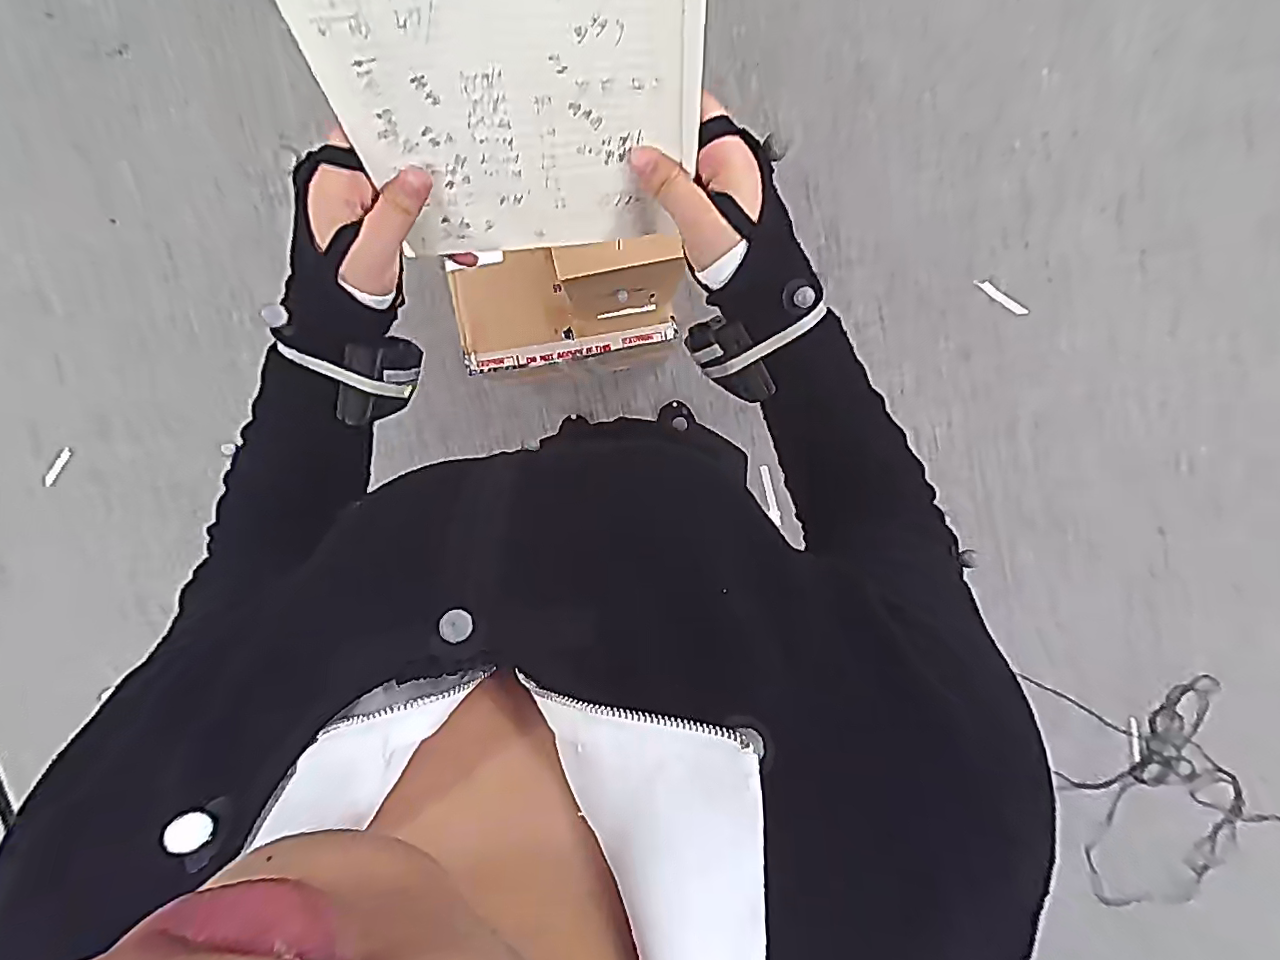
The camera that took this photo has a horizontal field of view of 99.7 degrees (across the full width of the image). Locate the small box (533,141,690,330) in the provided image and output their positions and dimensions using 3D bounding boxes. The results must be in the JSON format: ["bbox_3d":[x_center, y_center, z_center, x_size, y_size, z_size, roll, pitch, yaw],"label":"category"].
[{"bbox_3d":[-0.037,-0.312,0.724,0.168,0.176,0.179,-11,99,0],"label":"small box"}]

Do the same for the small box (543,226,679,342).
[{"bbox_3d":[-0.045,-0.333,0.887,0.179,0.176,0.168,-14,98,1],"label":"small box"}]
